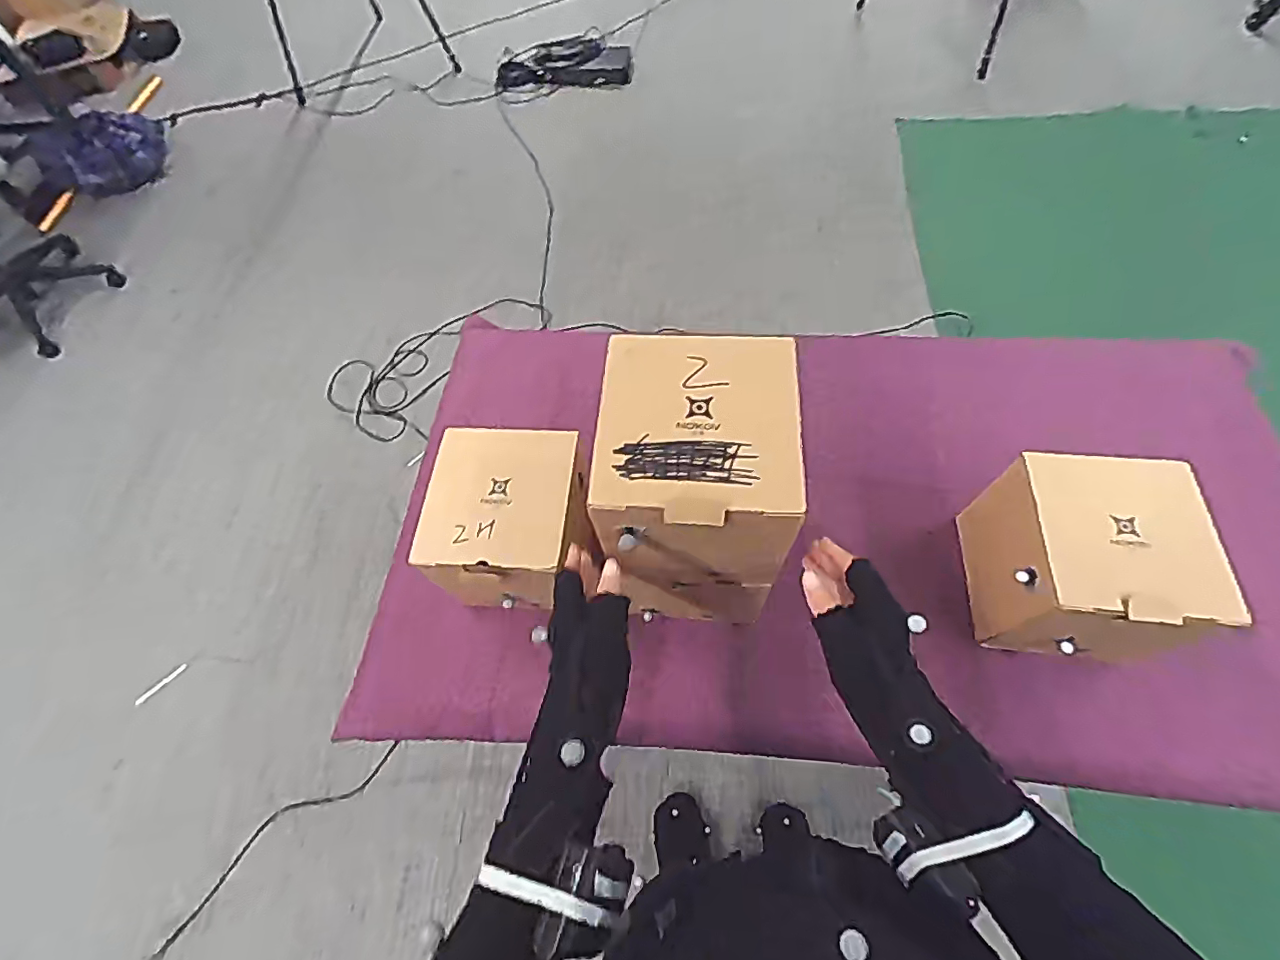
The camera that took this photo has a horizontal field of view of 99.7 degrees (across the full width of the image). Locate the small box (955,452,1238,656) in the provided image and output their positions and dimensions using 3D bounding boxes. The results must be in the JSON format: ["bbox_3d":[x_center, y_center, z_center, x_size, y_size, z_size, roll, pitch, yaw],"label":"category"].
[{"bbox_3d":[0.487,0.089,0.617,0.168,0.176,0.179,4,62,7],"label":"small box"}]

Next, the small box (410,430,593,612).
[{"bbox_3d":[-0.157,0.056,0.687,0.168,0.176,0.179,2,62,6],"label":"small box"}]

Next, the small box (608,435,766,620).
[{"bbox_3d":[0.062,0.065,0.666,0.168,0.176,0.179,3,62,6],"label":"small box"}]
